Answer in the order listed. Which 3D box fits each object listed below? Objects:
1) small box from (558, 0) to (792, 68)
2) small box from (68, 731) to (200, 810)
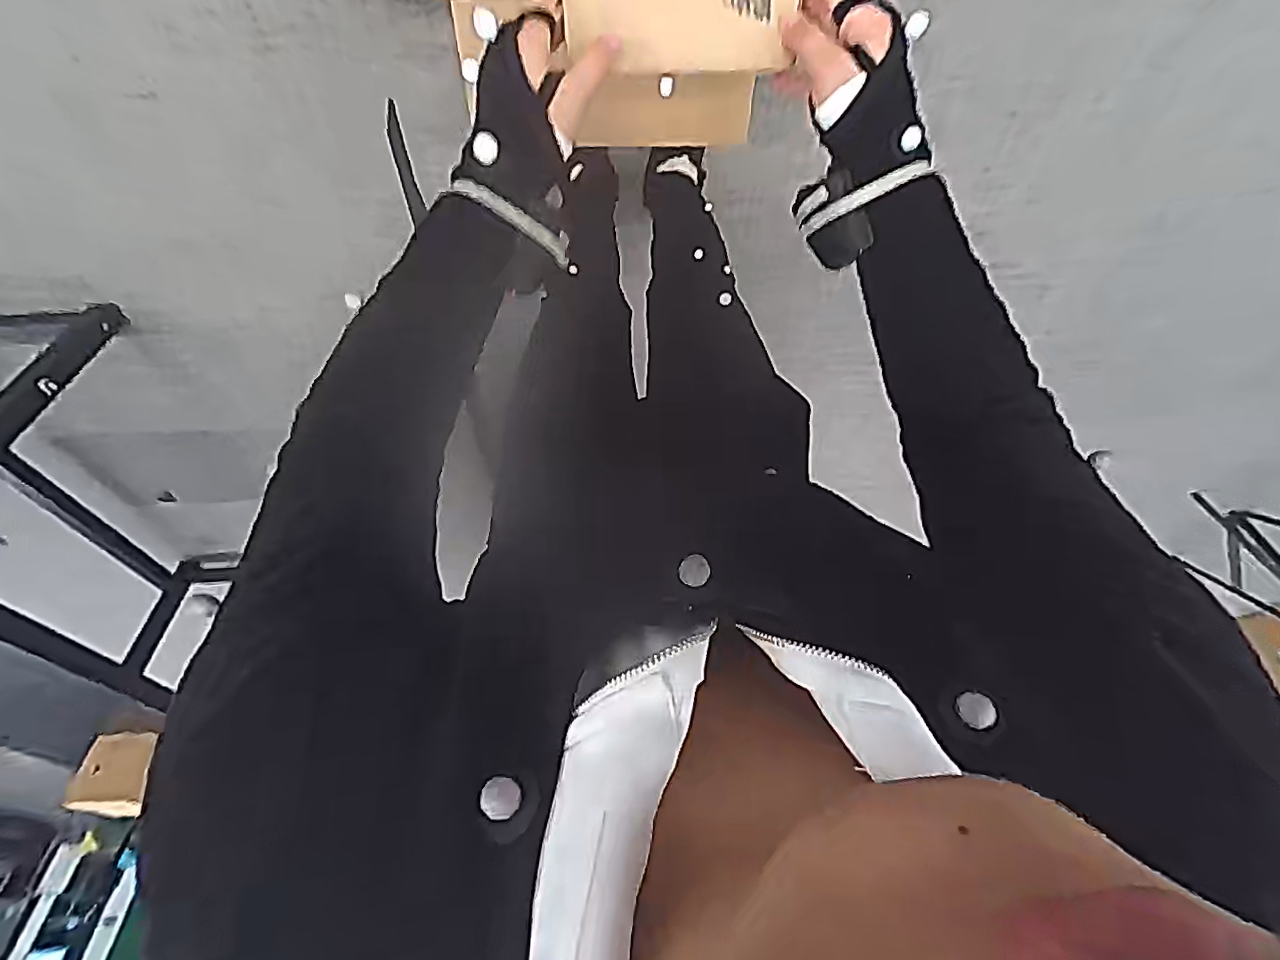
[{"bbox_3d":[0.025,-0.436,0.433,0.179,0.176,0.168,0,128,1],"label":"small box"},{"bbox_3d":[-1.395,0.806,1.505,0.168,0.176,0.179,-2,141,1],"label":"small box"}]
